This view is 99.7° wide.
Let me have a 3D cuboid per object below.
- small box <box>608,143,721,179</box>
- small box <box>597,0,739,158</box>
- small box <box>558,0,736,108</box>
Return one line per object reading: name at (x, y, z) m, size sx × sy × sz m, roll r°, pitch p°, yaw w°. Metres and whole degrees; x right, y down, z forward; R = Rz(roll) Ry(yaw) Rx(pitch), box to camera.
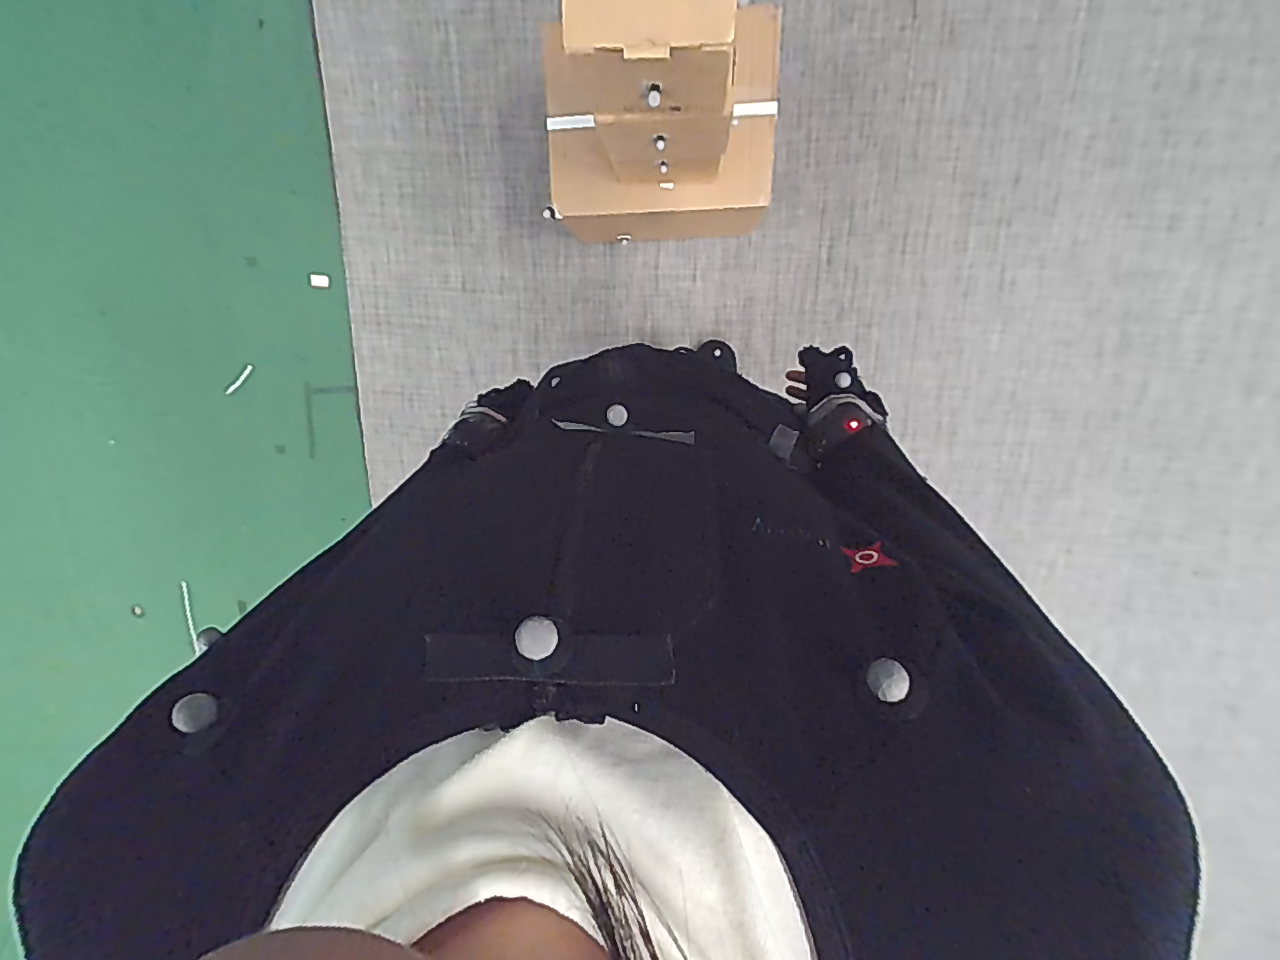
small box at (0.046, -0.600, 0.879) m, size 0.179 × 0.176 × 0.168 m, roll 2°, pitch 107°, yaw 5°
small box at (0.036, -0.549, 0.723) m, size 0.179 × 0.176 × 0.168 m, roll -2°, pitch 106°, yaw 6°
small box at (0.017, -0.513, 0.564) m, size 0.168 × 0.176 × 0.179 m, roll 4°, pitch 107°, yaw 6°
